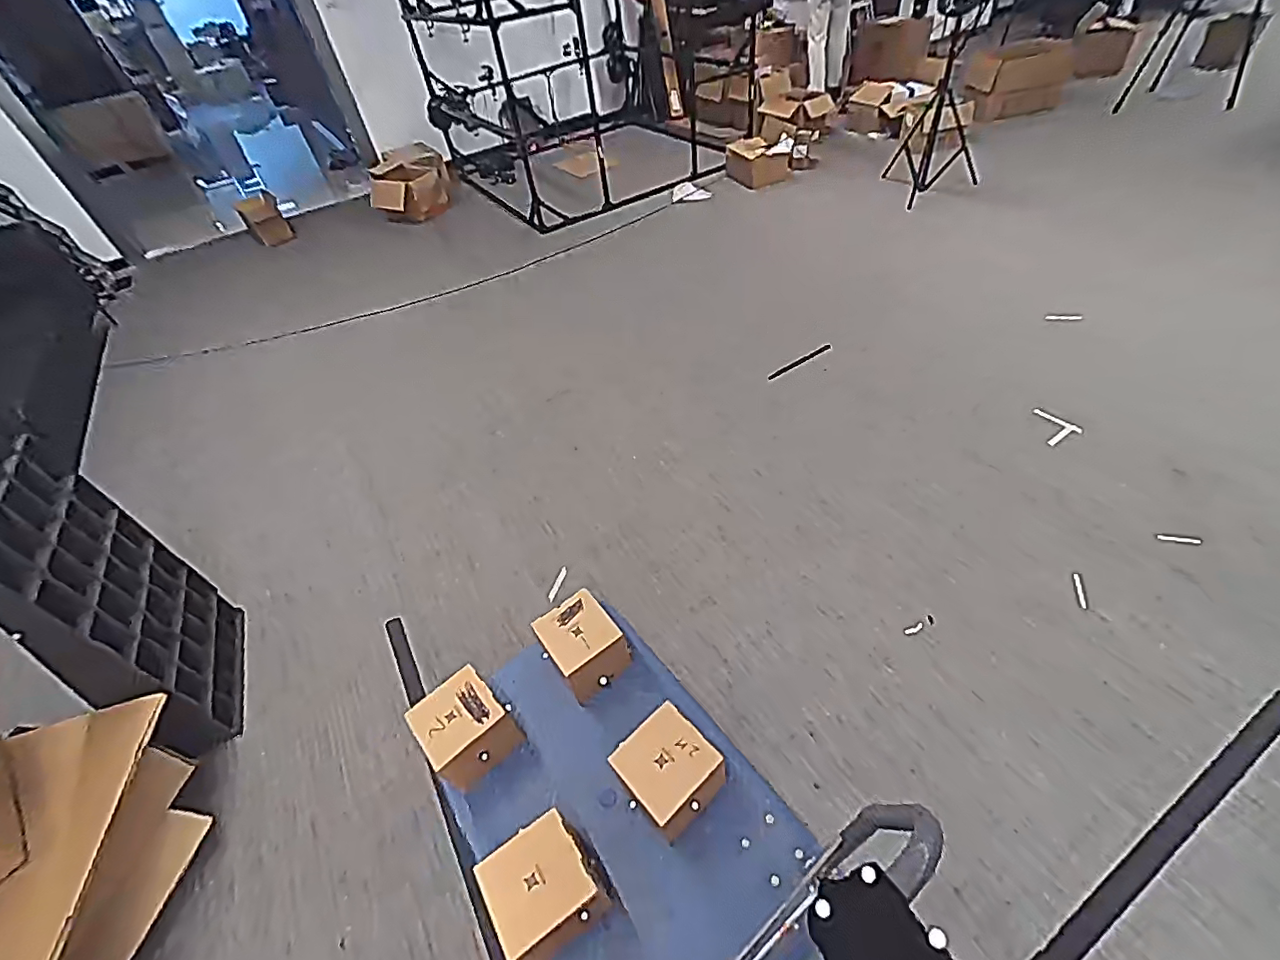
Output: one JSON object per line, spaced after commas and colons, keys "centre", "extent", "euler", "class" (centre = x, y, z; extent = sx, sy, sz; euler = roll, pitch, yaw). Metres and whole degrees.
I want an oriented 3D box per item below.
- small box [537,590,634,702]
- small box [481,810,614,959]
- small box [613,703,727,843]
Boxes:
{"centre": [-0.134, 0.419, 1.360], "extent": [0.168, 0.176, 0.179], "euler": [-32, 51, -20], "class": "small box"}
{"centre": [-0.169, 0.777, 1.022], "extent": [0.179, 0.176, 0.168], "euler": [-29, 48, -20], "class": "small box"}
{"centre": [0.071, 0.617, 1.134], "extent": [0.179, 0.176, 0.168], "euler": [-36, 51, -23], "class": "small box"}
